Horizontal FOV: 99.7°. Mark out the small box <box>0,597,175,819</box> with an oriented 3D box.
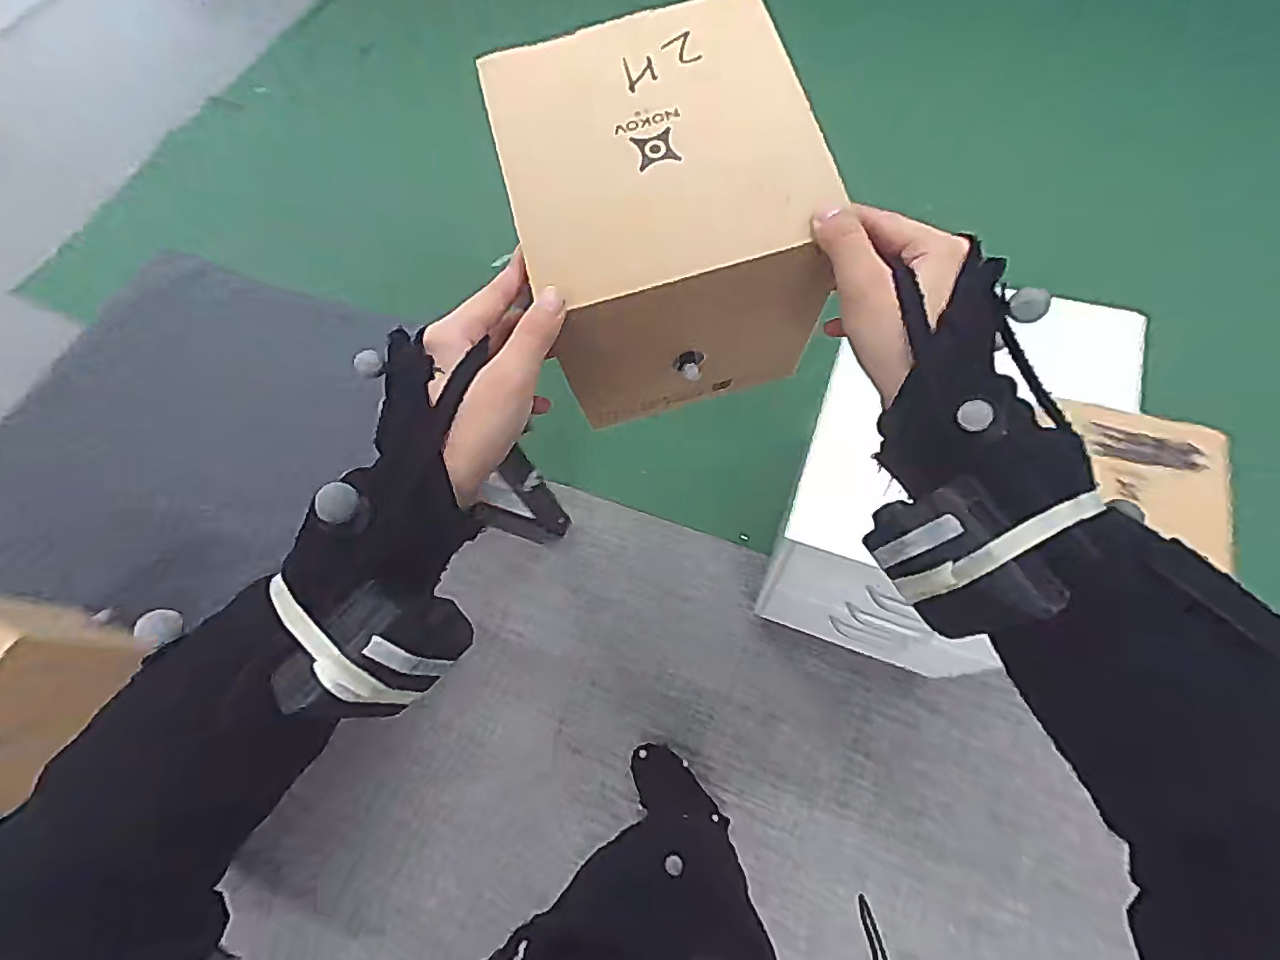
[{"bbox_3d":[-0.621,0.211,0.515,0.179,0.176,0.168,14,68,13],"label":"small box"}]
